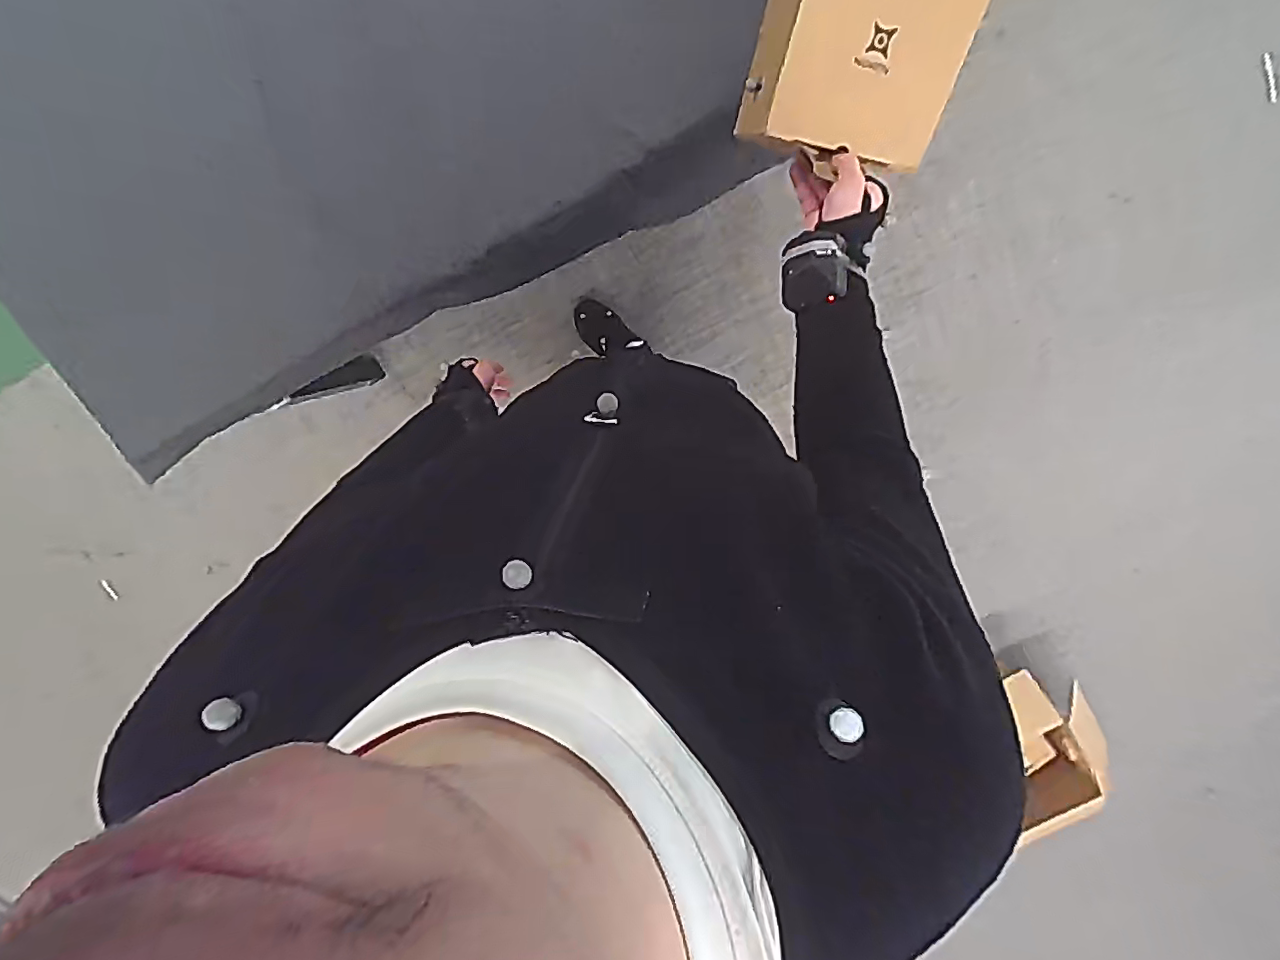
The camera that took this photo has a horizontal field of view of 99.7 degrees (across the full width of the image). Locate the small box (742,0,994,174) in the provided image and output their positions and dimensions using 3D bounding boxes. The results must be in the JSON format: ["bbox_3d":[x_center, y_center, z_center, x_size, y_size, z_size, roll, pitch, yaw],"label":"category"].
[{"bbox_3d":[0.215,-0.433,0.555,0.168,0.176,0.179,9,120,-9],"label":"small box"}]
